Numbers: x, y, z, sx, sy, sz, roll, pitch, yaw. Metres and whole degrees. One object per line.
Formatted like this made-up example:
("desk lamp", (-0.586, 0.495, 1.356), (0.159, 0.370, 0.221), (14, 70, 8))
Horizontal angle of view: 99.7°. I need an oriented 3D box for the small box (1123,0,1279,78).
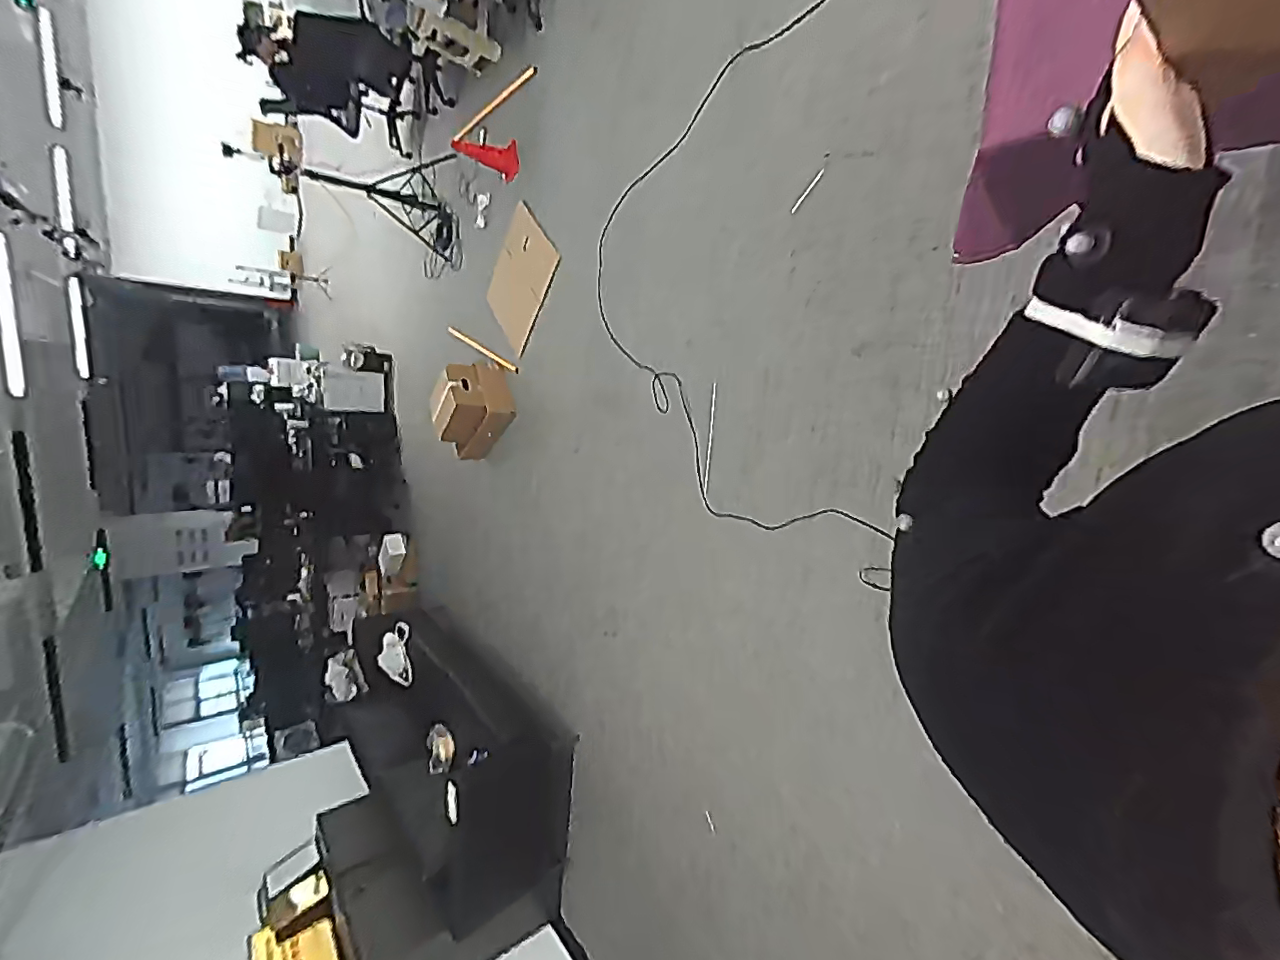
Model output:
("small box", (0.303, -0.294, 0.202), (0.168, 0.176, 0.179), (0, 96, 52))
